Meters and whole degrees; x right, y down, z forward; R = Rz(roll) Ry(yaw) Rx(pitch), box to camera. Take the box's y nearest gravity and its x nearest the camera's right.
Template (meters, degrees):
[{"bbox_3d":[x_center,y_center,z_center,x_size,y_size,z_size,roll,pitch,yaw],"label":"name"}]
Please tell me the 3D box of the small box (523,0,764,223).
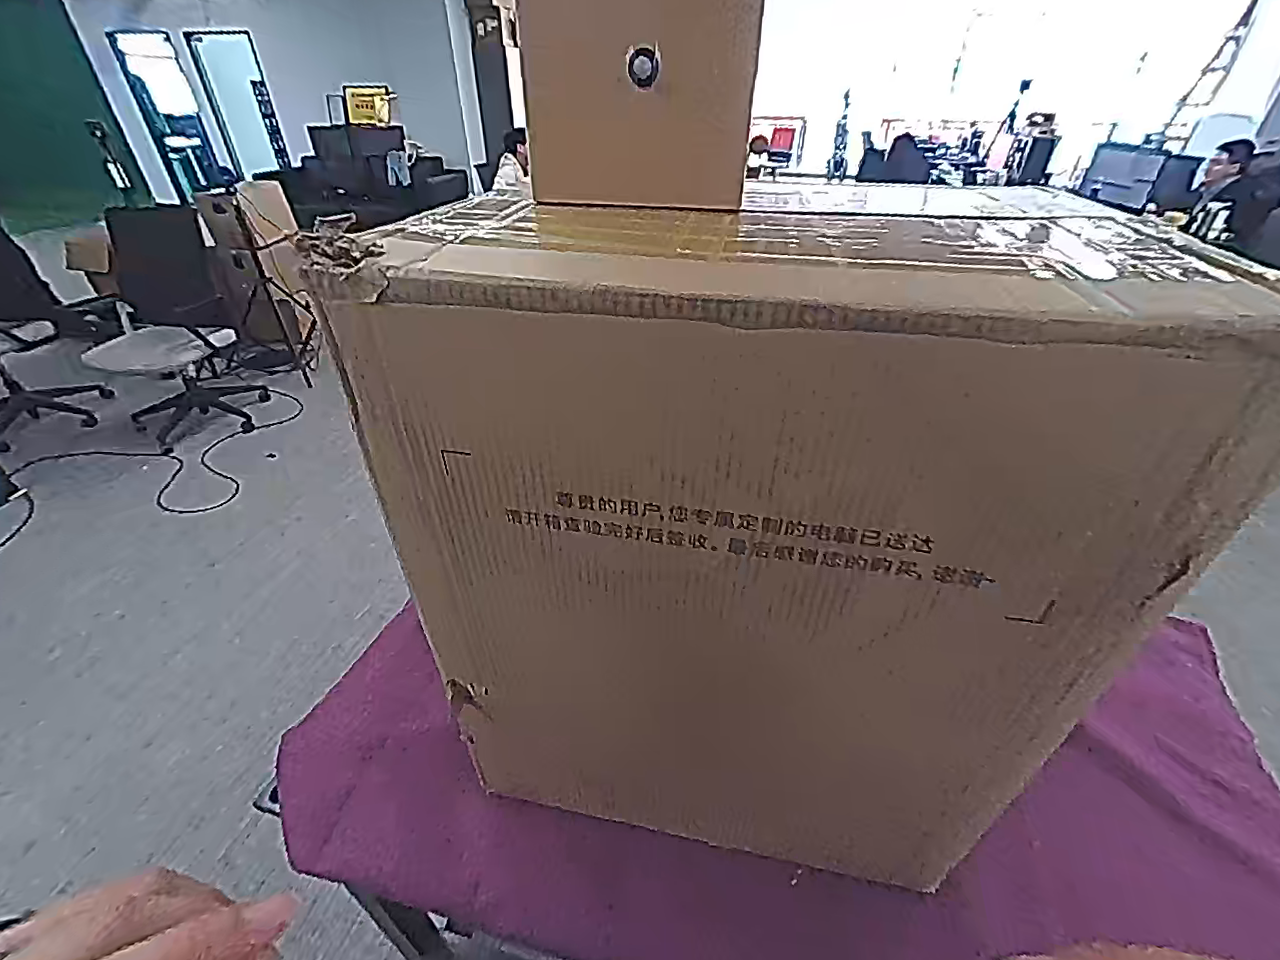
[{"bbox_3d":[0.008,-0.322,0.448,0.168,0.176,0.179,5,36,5],"label":"small box"}]
